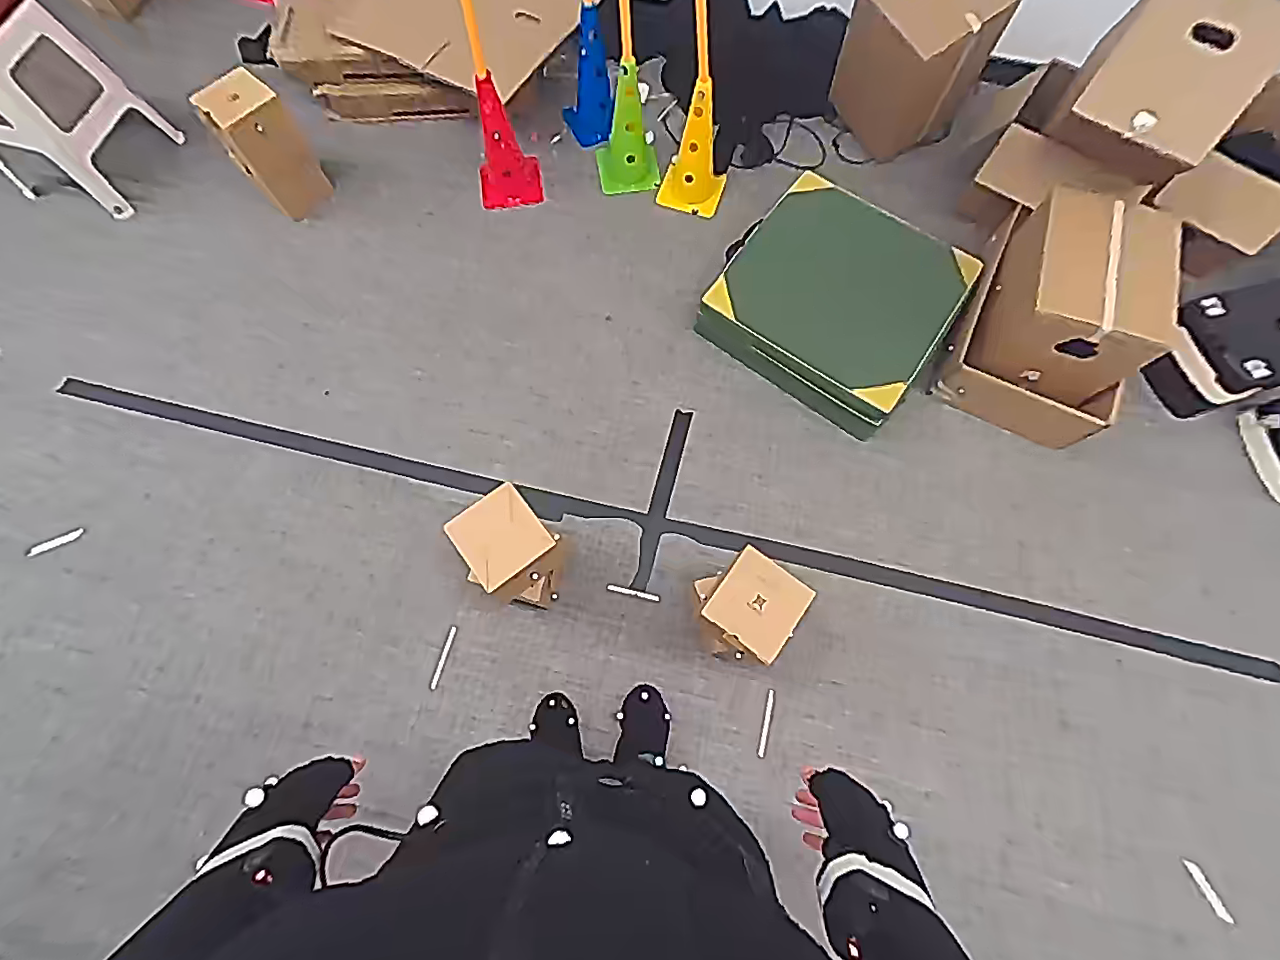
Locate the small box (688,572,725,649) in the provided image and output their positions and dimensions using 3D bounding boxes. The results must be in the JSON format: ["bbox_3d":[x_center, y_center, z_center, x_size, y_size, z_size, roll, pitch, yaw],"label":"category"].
[{"bbox_3d":[0.220,0.308,1.310,0.179,0.176,0.168,-15,74,-5],"label":"small box"}]

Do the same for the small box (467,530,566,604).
[{"bbox_3d":[-0.294,0.201,1.336,0.179,0.176,0.168,16,71,5],"label":"small box"}]

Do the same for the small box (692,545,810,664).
[{"bbox_3d":[0.226,0.269,1.151,0.168,0.176,0.179,37,74,9],"label":"small box"}]

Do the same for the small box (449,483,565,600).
[{"bbox_3d":[-0.288,0.137,1.181,0.168,0.176,0.179,-37,75,-12],"label":"small box"}]
